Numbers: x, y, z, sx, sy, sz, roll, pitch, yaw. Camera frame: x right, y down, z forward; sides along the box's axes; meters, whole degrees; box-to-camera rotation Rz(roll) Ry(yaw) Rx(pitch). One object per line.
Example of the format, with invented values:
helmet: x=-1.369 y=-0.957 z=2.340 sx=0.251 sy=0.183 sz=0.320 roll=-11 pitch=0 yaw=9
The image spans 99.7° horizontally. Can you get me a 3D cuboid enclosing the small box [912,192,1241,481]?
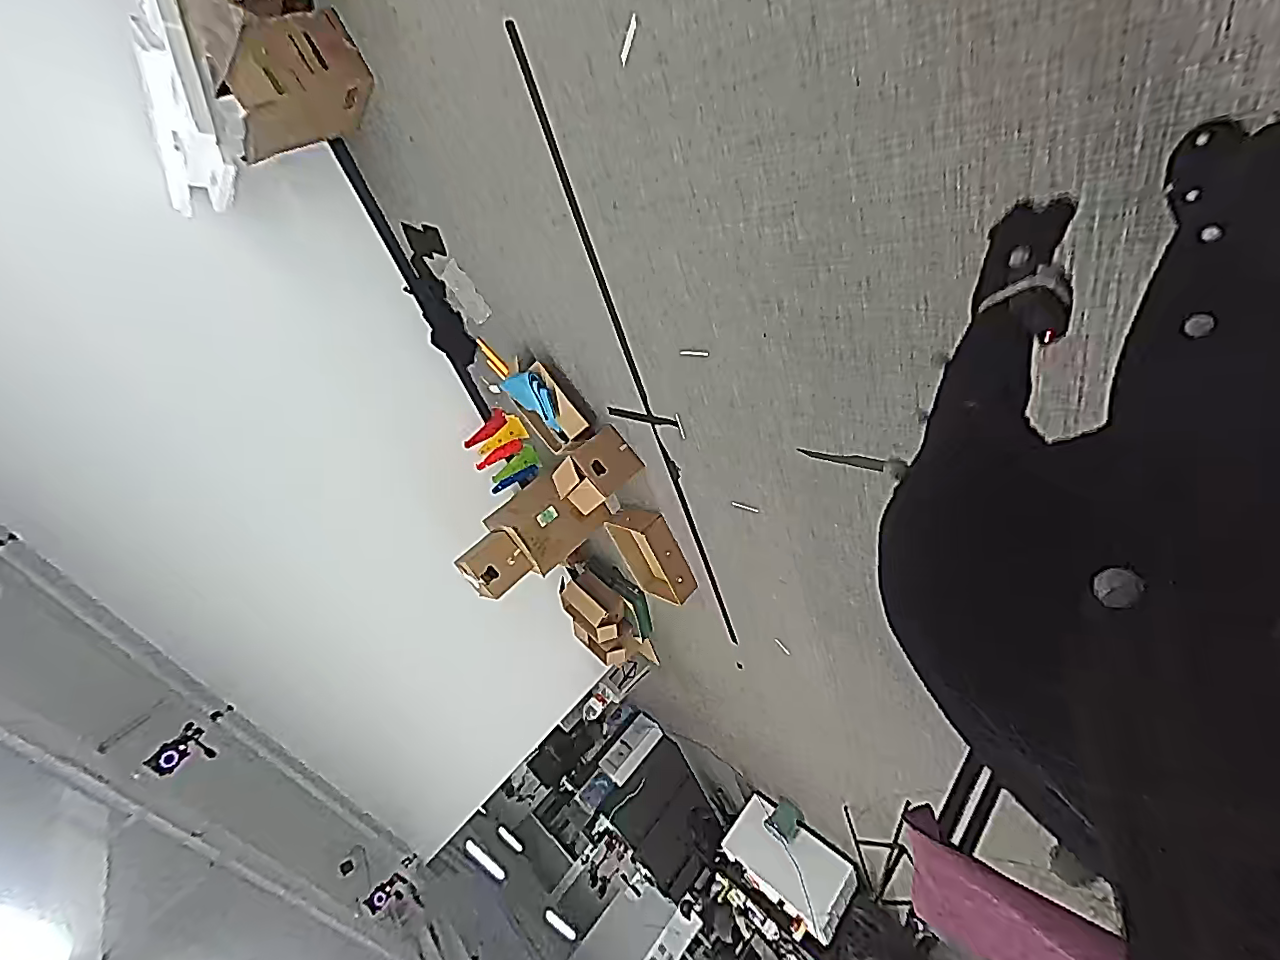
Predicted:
small box: x=0.352 y=-0.105 z=0.478 sx=0.168 sy=0.176 sz=0.179 roll=-16 pitch=85 yaw=24
